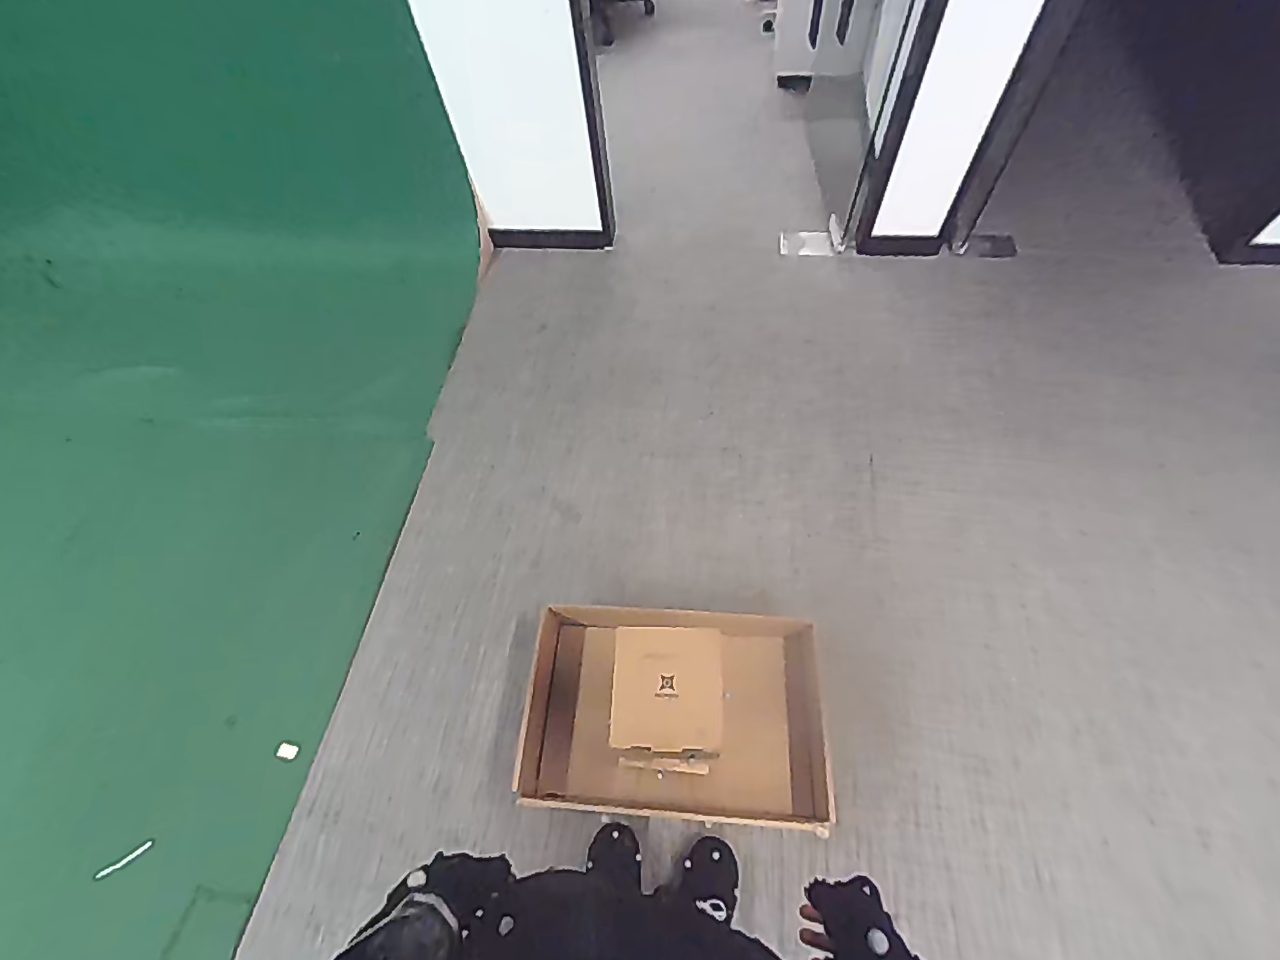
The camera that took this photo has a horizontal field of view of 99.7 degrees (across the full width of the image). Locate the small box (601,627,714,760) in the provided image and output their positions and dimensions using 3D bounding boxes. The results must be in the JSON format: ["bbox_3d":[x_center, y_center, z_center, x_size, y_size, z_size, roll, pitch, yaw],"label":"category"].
[{"bbox_3d":[0.033,0.350,0.876,0.168,0.176,0.179,0,58,3],"label":"small box"}]

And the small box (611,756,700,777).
[{"bbox_3d":[0.042,0.536,1.162,0.179,0.176,0.168,3,59,7],"label":"small box"}]
